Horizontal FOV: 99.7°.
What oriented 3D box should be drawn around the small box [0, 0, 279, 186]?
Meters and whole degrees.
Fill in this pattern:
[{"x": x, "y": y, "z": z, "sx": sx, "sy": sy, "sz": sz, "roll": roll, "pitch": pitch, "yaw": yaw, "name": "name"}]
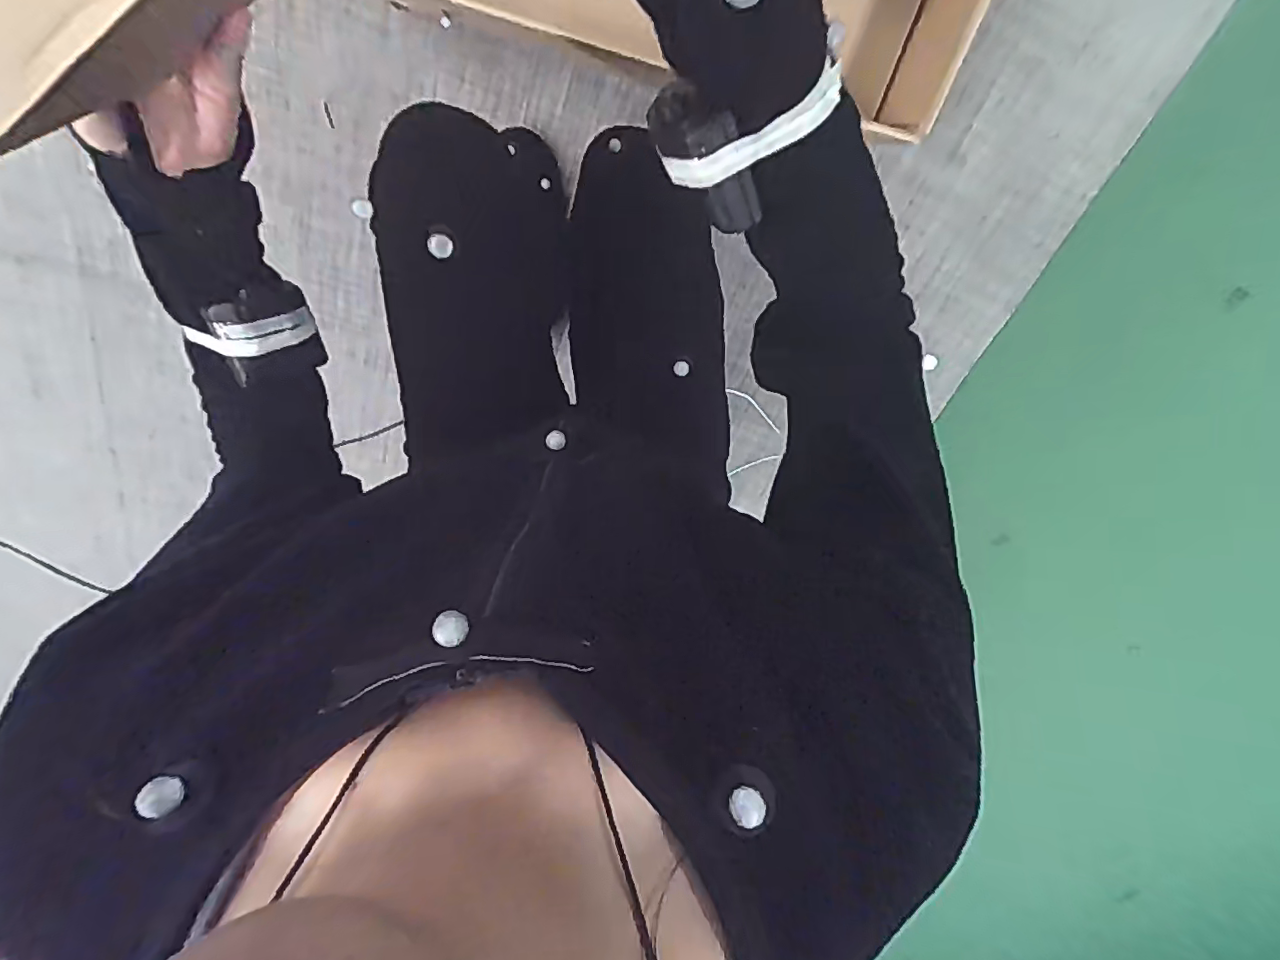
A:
[{"x": -0.195, "y": -0.229, "z": 0.154, "sx": 0.179, "sy": 0.176, "sz": 0.168, "roll": -25, "pitch": 136, "yaw": 14, "name": "small box"}]
